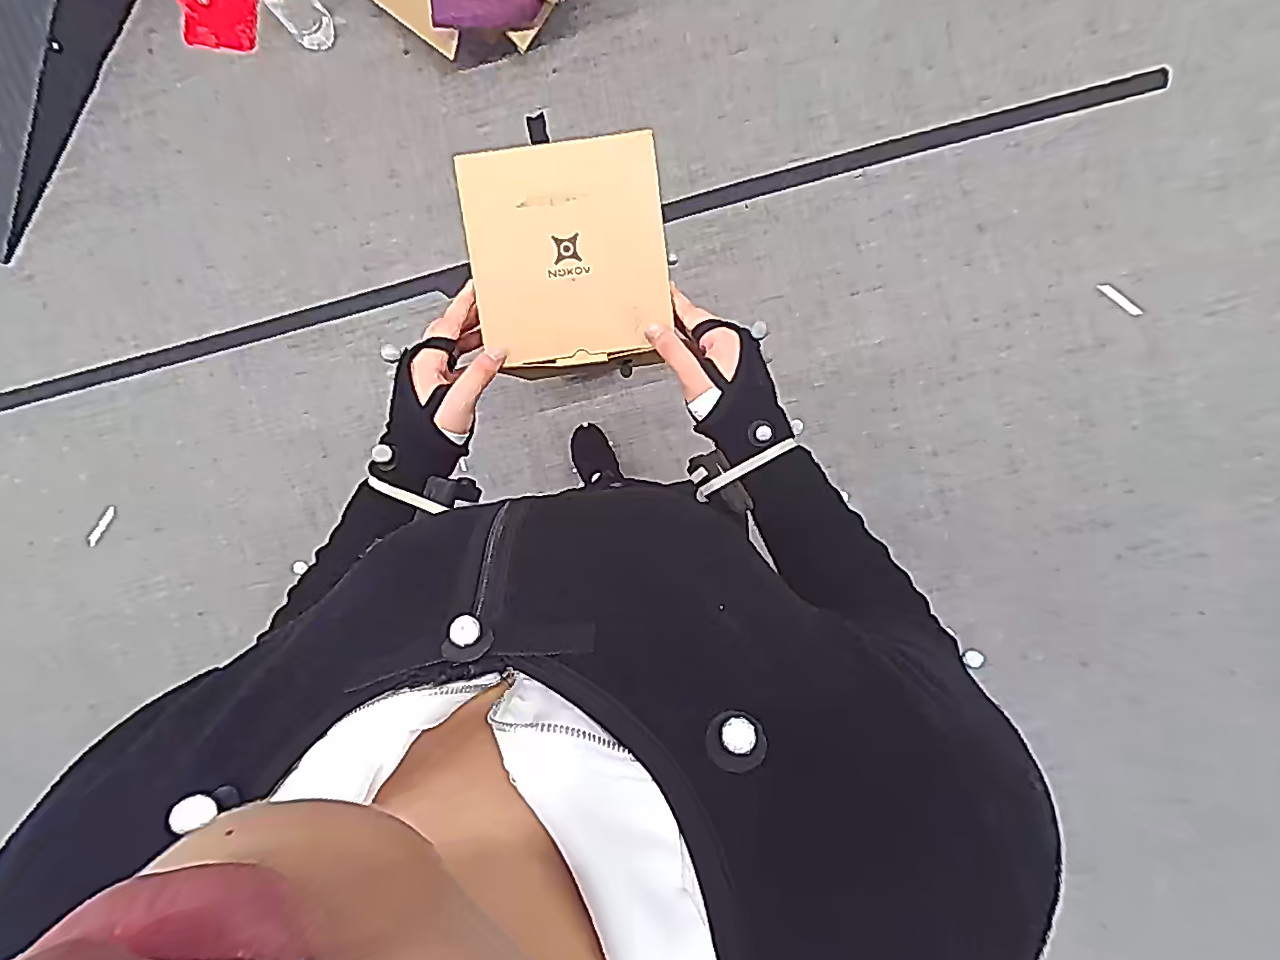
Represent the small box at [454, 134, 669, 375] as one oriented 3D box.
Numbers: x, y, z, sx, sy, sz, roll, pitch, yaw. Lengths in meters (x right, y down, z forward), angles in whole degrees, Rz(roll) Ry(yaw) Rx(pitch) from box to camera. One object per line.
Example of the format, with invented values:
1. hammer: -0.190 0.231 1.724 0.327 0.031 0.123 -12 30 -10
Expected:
1. small box: -0.064 -0.200 0.533 0.168 0.176 0.179 -7 97 0
